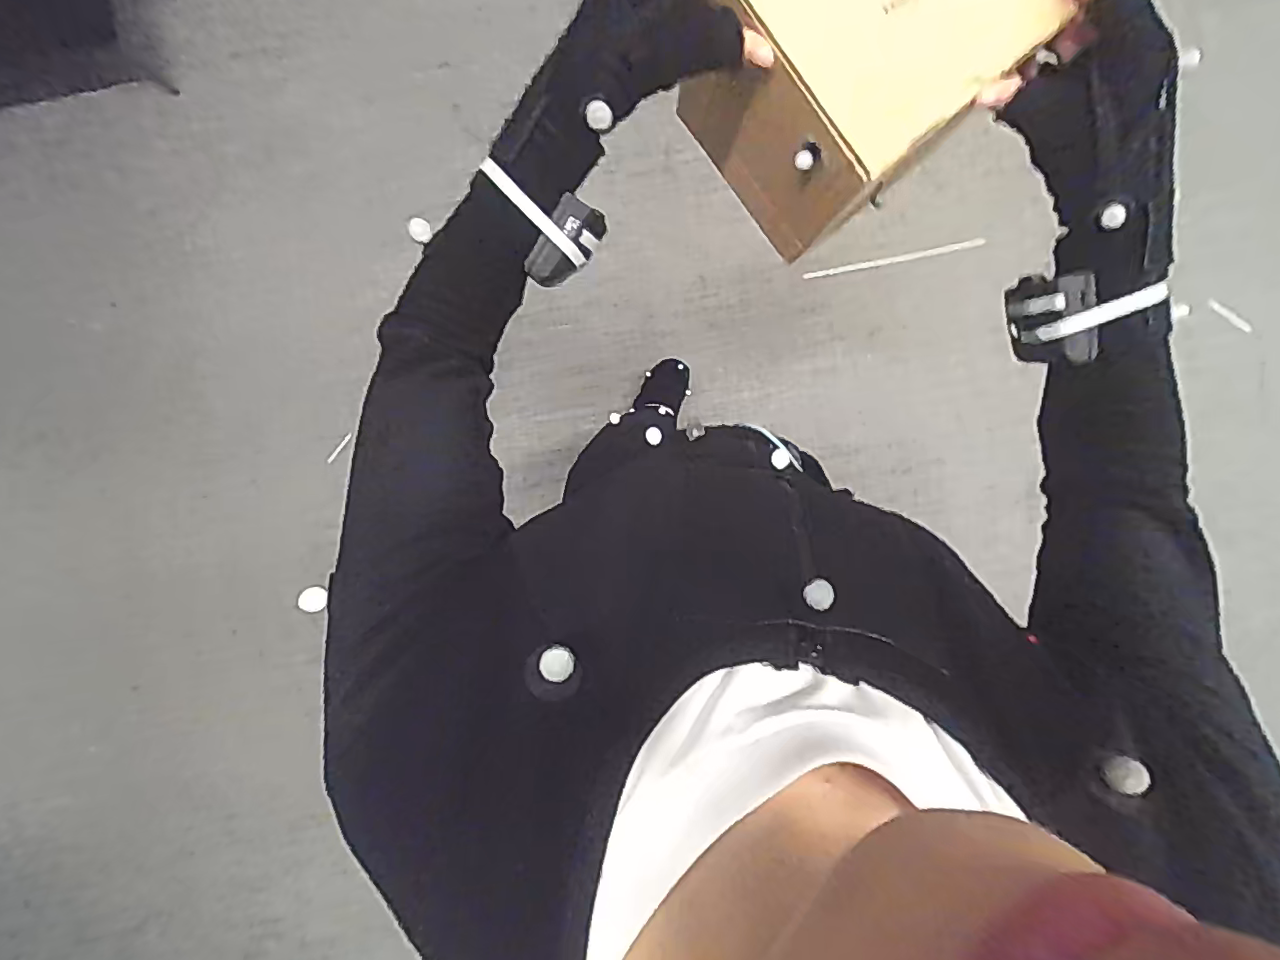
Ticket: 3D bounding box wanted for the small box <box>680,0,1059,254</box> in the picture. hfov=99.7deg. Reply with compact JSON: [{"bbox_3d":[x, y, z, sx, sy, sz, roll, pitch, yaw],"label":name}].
[{"bbox_3d":[0.148,-0.314,0.417,0.168,0.176,0.179,-38,95,1],"label":"small box"}]
